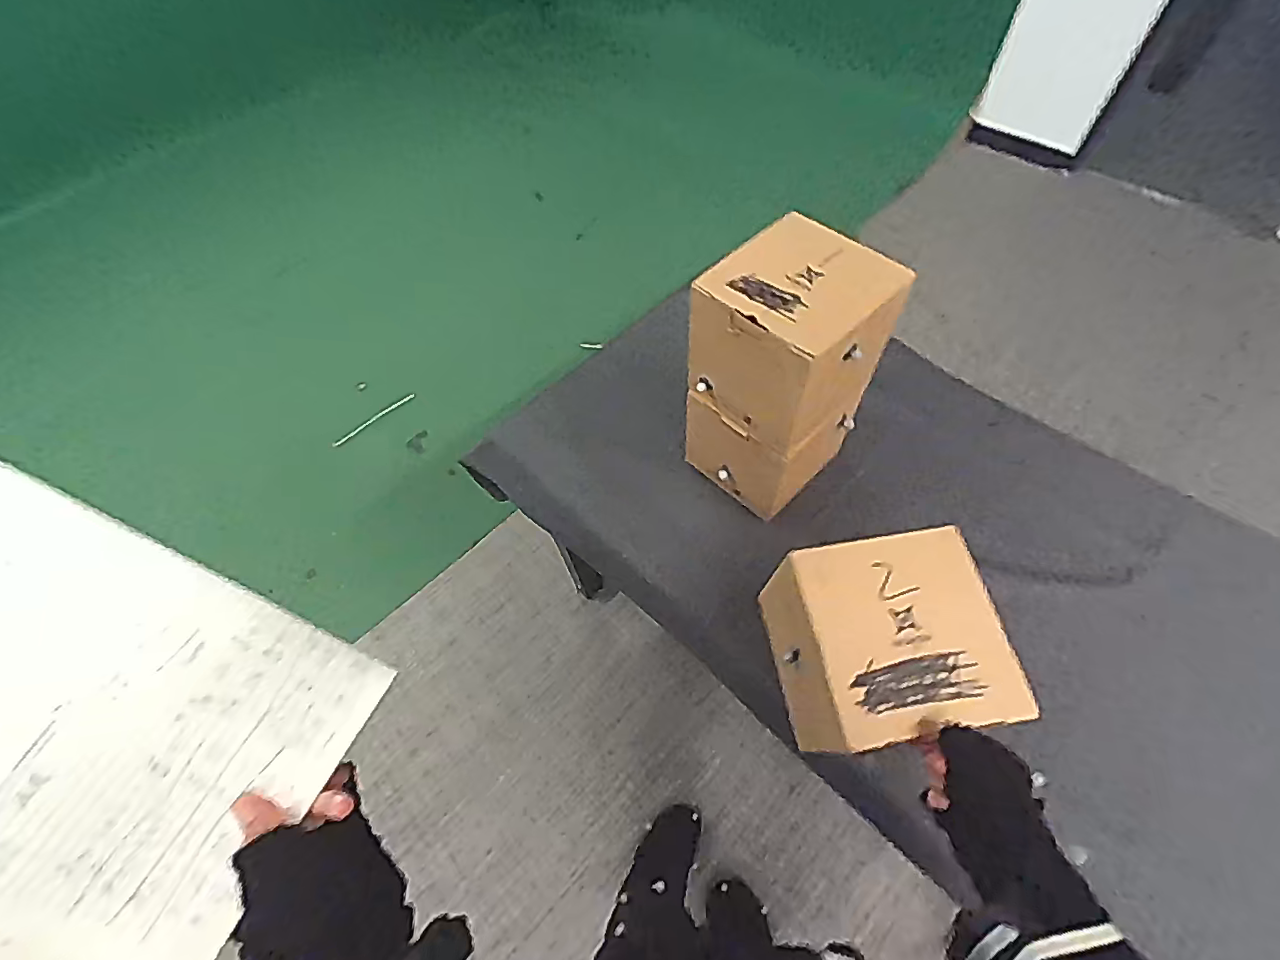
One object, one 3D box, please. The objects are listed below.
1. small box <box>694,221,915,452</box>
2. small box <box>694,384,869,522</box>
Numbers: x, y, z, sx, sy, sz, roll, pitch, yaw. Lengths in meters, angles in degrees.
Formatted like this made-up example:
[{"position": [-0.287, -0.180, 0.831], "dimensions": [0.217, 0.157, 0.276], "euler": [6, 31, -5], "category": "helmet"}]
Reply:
[{"position": [0.181, -0.165, 0.645], "dimensions": [0.179, 0.176, 0.168], "euler": [-38, 64, -20], "category": "small box"}, {"position": [0.189, -0.074, 0.782], "dimensions": [0.179, 0.176, 0.168], "euler": [-40, 63, -20], "category": "small box"}]
